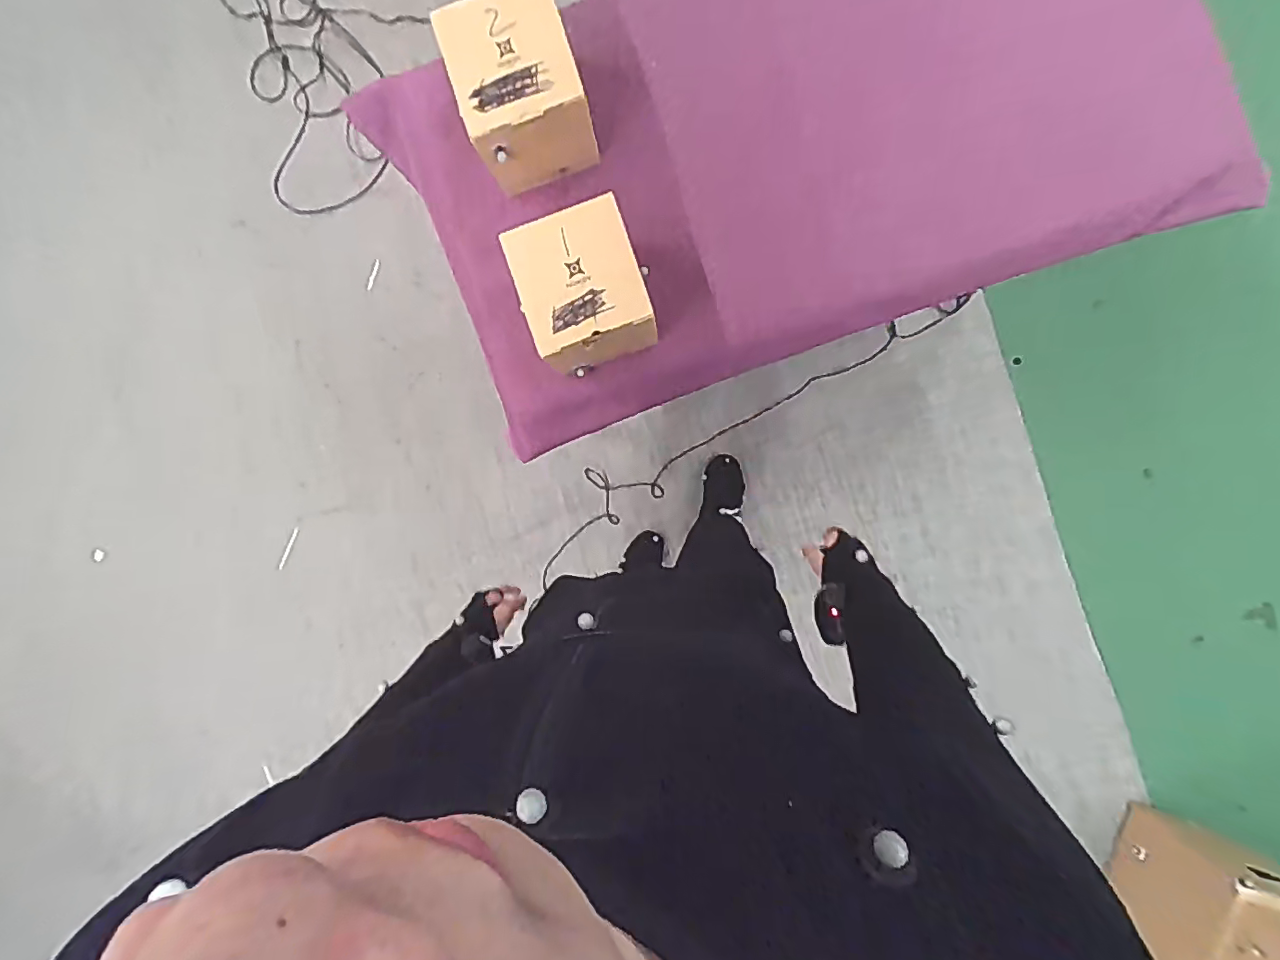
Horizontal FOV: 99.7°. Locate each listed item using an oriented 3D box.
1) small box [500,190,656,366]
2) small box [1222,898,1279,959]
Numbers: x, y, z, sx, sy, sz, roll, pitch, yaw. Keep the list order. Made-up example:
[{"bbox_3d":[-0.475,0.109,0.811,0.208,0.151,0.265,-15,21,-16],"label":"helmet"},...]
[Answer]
[{"bbox_3d":[-0.078,-0.277,0.794,0.168,0.176,0.179,-19,90,3],"label":"small box"},{"bbox_3d":[1.461,1.067,1.179,0.179,0.176,0.168,16,93,4],"label":"small box"}]
